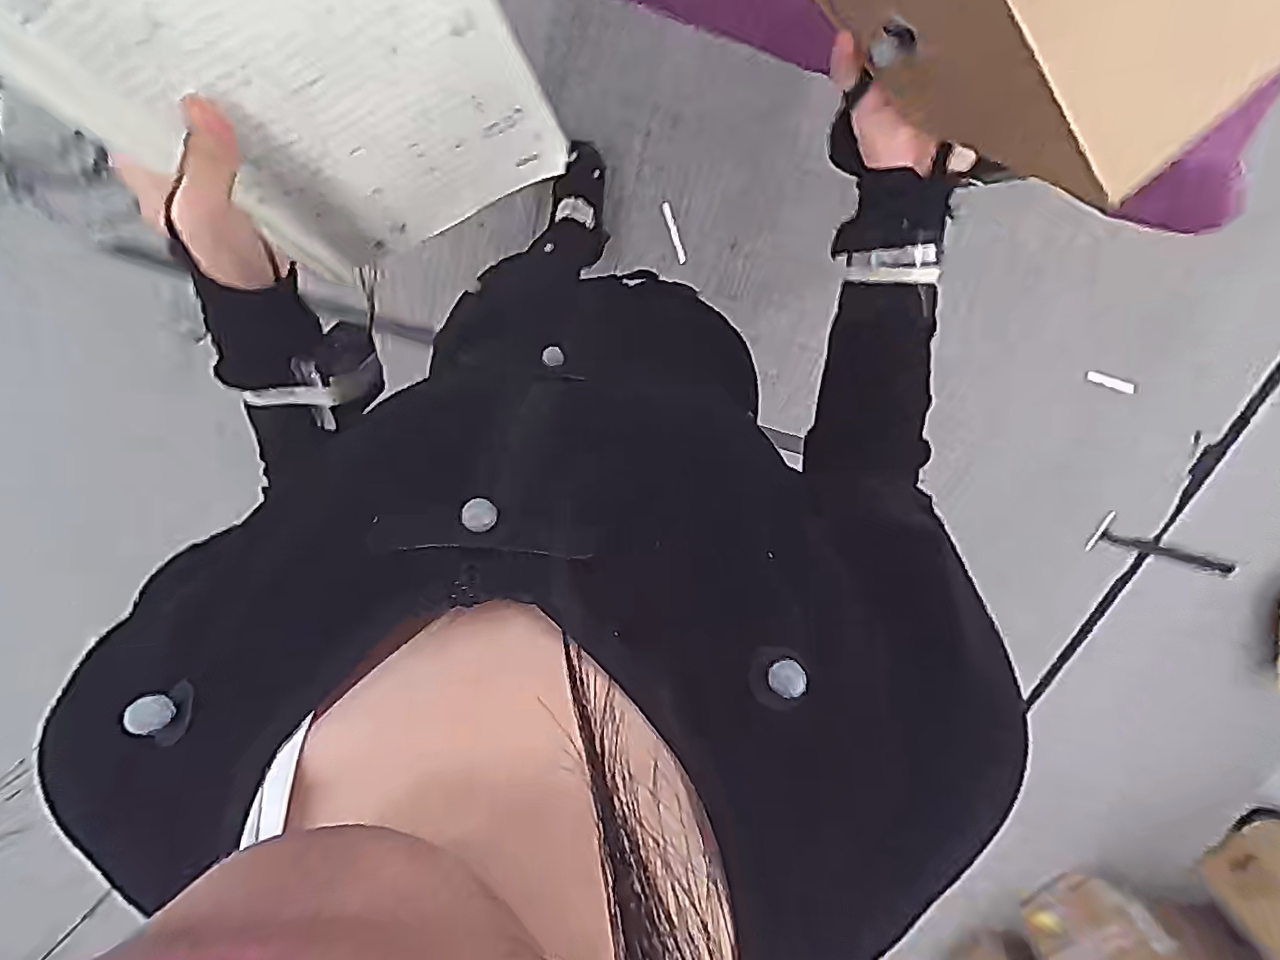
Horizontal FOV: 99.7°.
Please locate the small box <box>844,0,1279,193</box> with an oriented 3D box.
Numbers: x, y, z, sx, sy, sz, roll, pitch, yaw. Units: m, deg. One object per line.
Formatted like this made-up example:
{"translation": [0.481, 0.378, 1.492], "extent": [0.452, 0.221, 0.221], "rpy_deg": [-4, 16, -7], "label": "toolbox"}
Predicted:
{"translation": [0.180, -0.259, 0.207], "extent": [0.168, 0.176, 0.179], "rpy_deg": [25, 122, -33], "label": "small box"}
